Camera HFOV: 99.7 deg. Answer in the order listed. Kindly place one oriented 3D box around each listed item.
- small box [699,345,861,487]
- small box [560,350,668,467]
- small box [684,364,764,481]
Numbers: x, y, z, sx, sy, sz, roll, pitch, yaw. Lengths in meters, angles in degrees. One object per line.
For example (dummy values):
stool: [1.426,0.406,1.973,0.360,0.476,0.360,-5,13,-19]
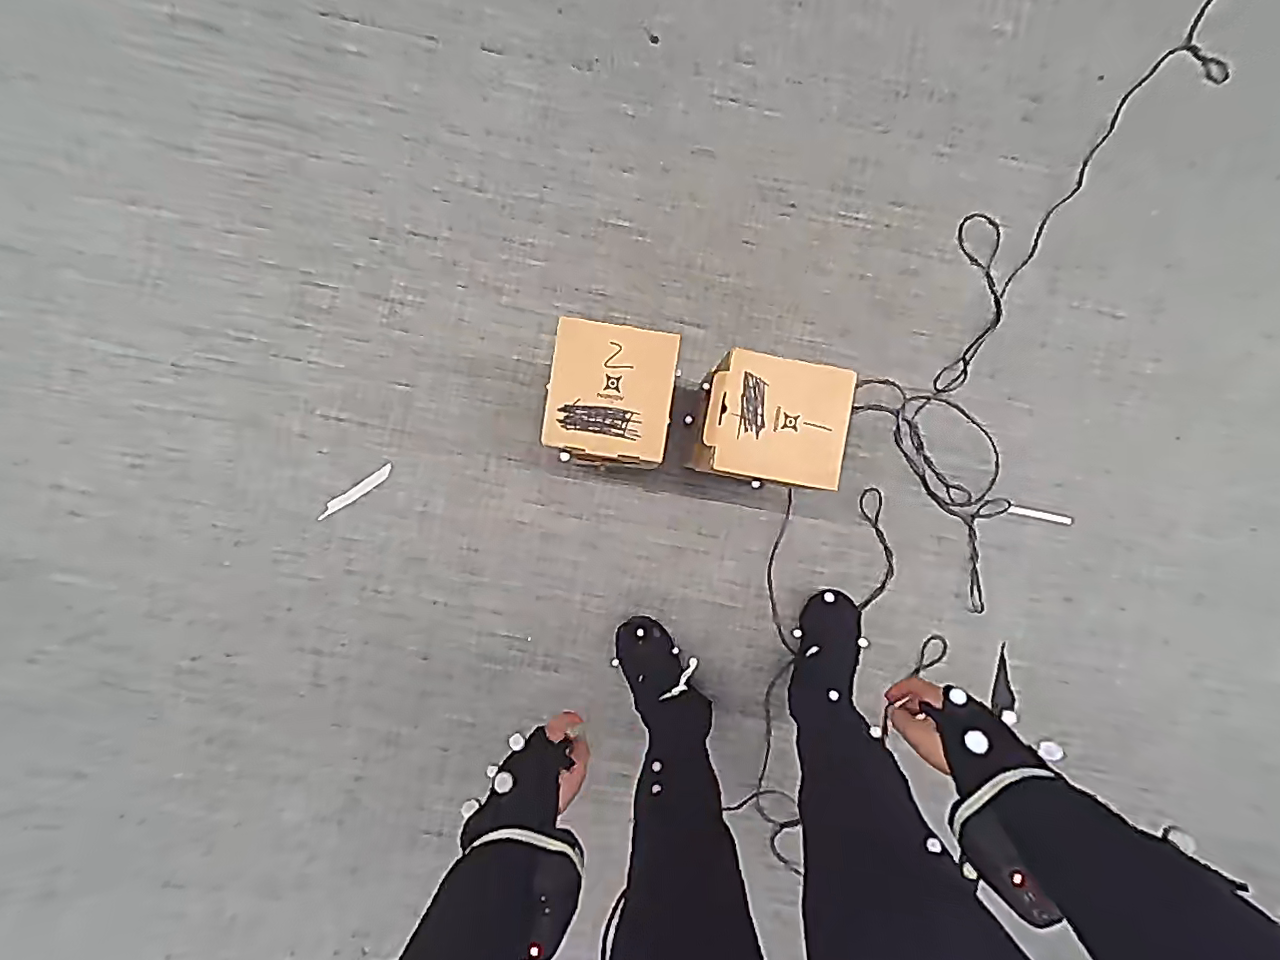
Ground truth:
small box: [0.191,-0.084,0.794,0.179,0.176,0.168,11,90,-2]
small box: [-0.046,-0.118,0.955,0.168,0.176,0.179,4,91,-2]
small box: [0.186,-0.092,0.958,0.179,0.176,0.168,12,89,-1]
